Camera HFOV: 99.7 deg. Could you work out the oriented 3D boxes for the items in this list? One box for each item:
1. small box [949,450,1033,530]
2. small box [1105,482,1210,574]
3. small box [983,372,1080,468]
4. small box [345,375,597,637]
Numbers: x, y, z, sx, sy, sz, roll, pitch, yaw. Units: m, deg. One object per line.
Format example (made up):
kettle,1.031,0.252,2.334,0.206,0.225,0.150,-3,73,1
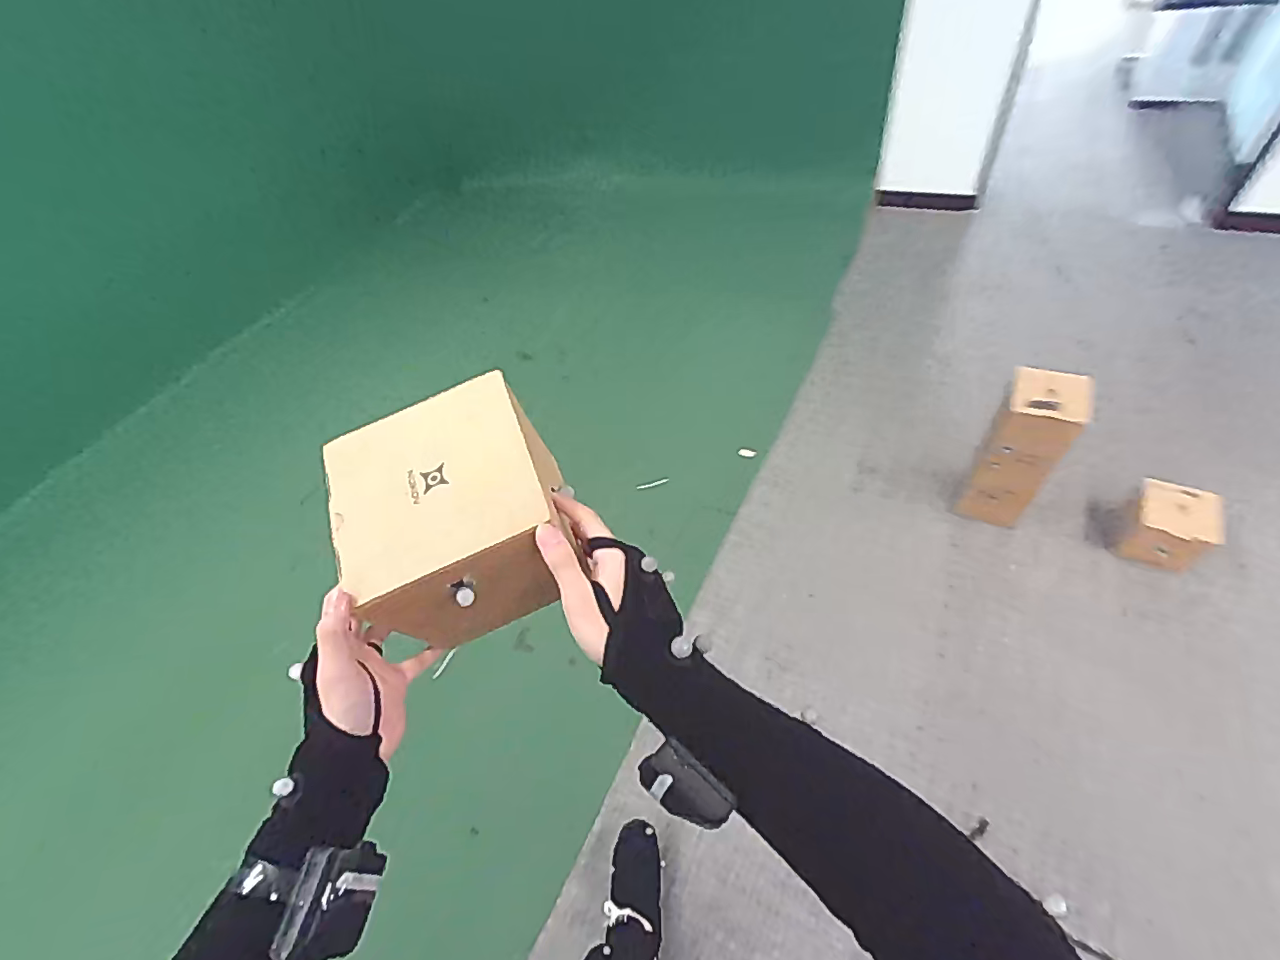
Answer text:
small box,1.099,0.035,1.703,0.179,0.176,0.168,17,58,23
small box,1.470,0.140,1.542,0.168,0.176,0.179,19,59,24
small box,1.039,-0.157,1.443,0.168,0.176,0.179,15,56,23
small box,-0.154,0.035,0.535,0.179,0.176,0.168,-24,60,-1
